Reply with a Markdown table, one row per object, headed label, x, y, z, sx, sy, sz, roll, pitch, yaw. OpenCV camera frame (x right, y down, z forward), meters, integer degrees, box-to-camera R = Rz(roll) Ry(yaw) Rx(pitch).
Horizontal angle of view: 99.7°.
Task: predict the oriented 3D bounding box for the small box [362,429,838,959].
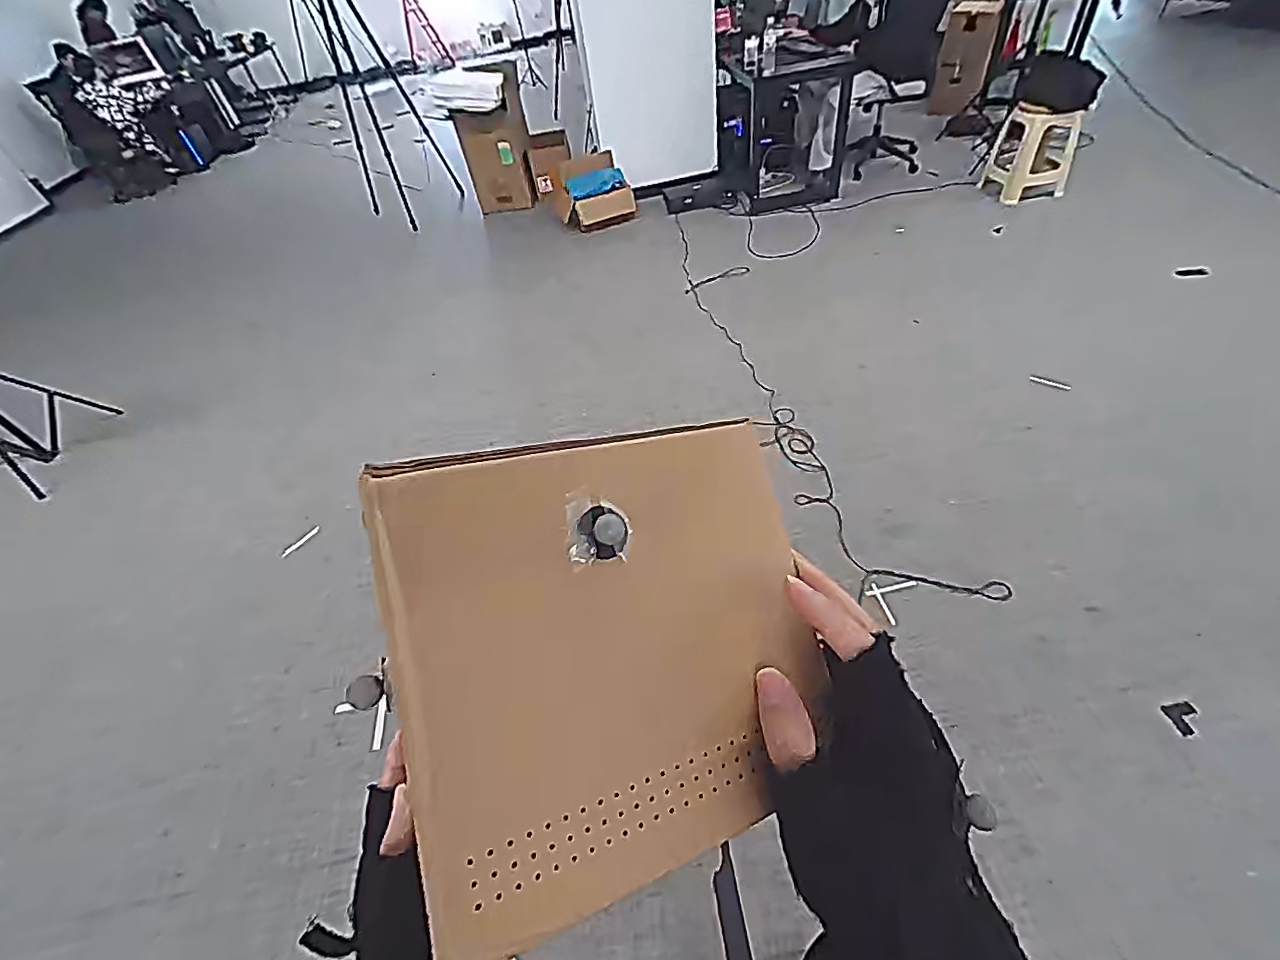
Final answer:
| label | x | y | z | sx | sy | sz | roll | pitch | yaw |
| --- | --- | --- | --- | --- | --- | --- | --- | --- | --- |
| small box | -0.031 | 0.089 | 0.283 | 0.179 | 0.168 | 0.176 | -10 | 79 | -26 |
